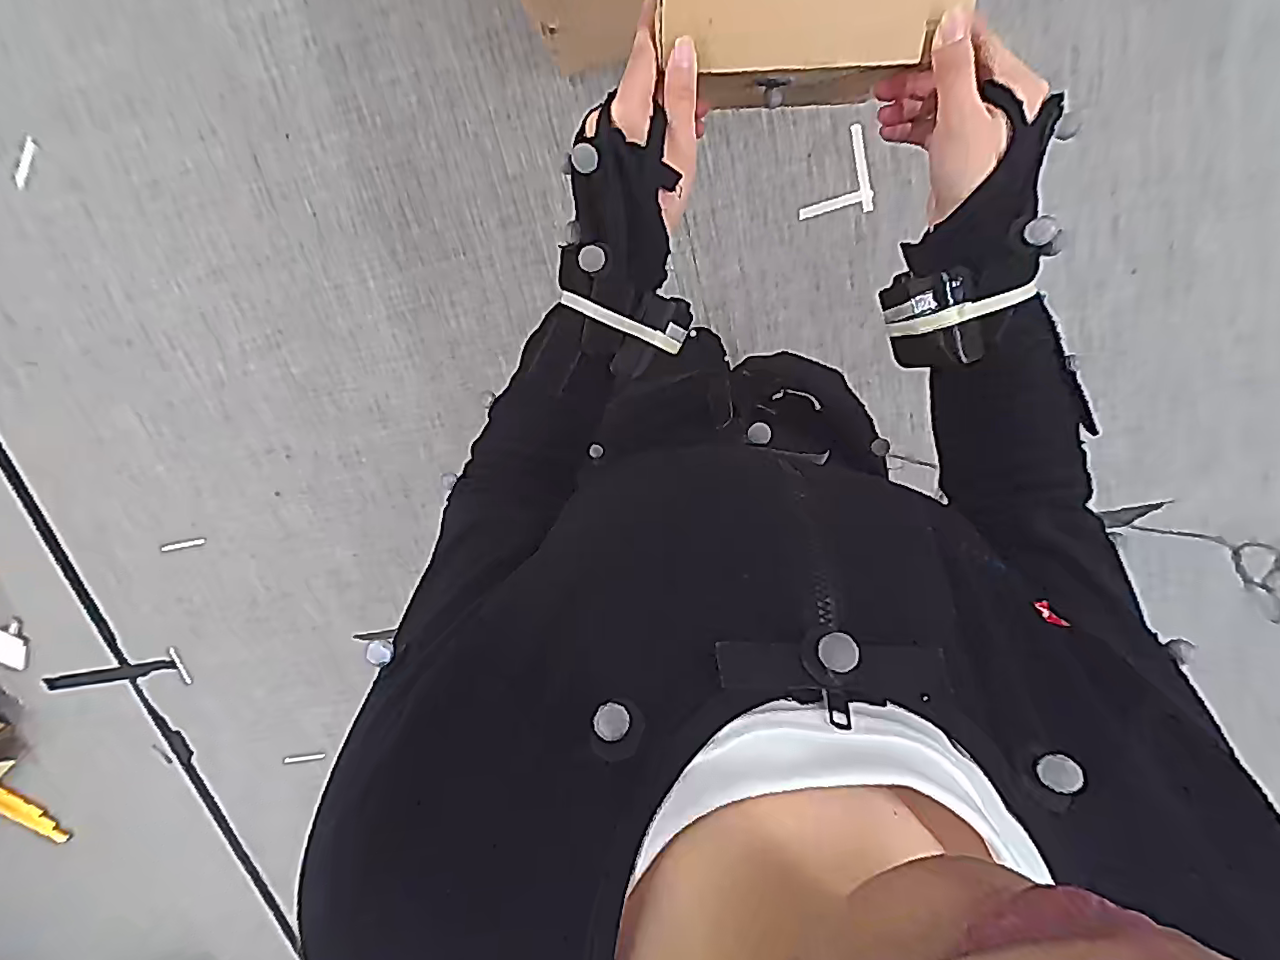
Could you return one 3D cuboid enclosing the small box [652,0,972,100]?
[{"bbox_3d":[0.094,-0.352,0.341,0.179,0.176,0.168,-2,118,1],"label":"small box"}]
